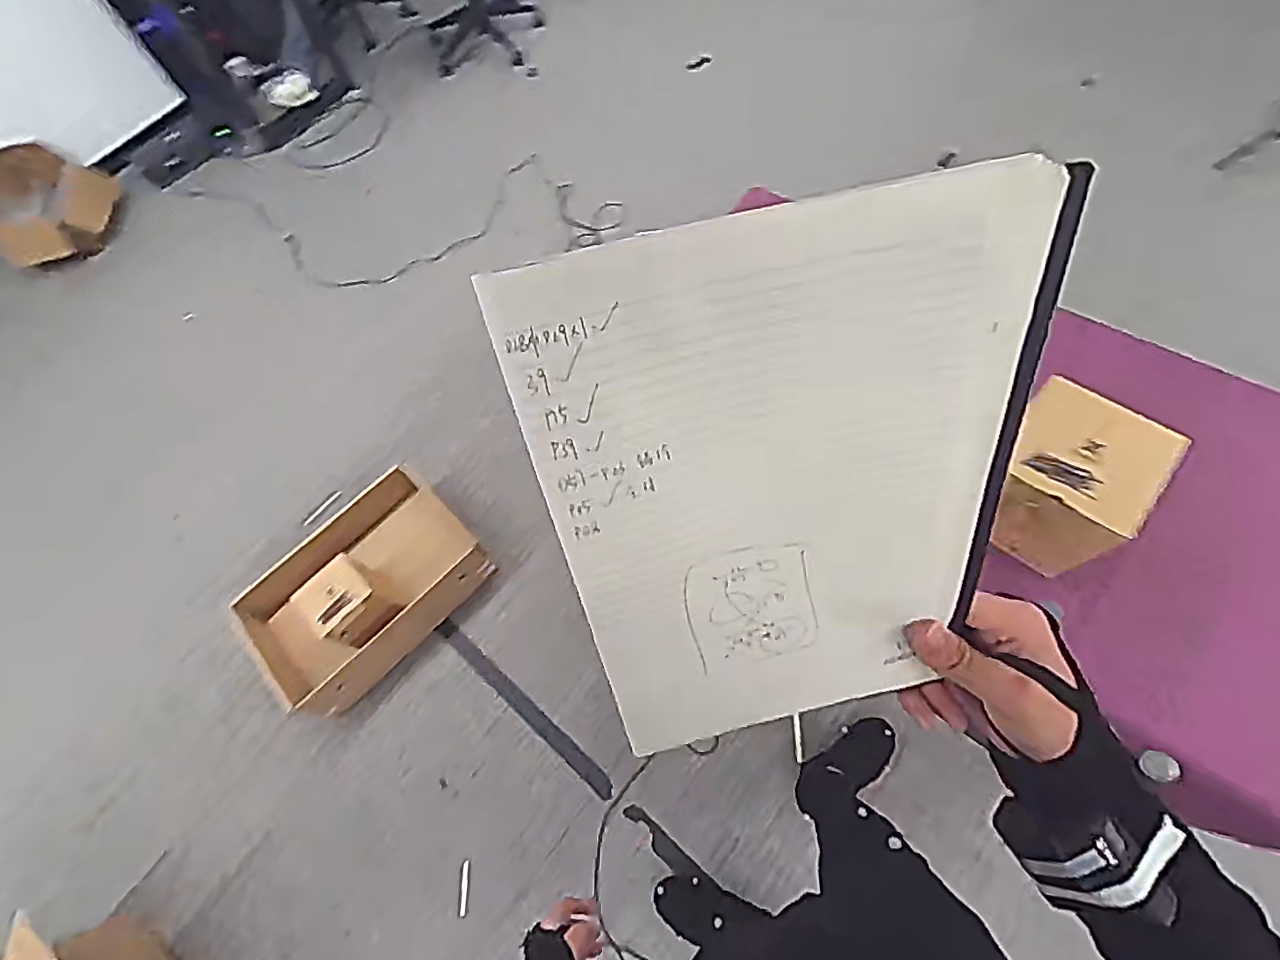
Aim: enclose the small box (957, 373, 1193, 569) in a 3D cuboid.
[{"bbox_3d":[0.574,-0.005,0.745,0.168,0.176,0.179,38,74,21],"label":"small box"}]
